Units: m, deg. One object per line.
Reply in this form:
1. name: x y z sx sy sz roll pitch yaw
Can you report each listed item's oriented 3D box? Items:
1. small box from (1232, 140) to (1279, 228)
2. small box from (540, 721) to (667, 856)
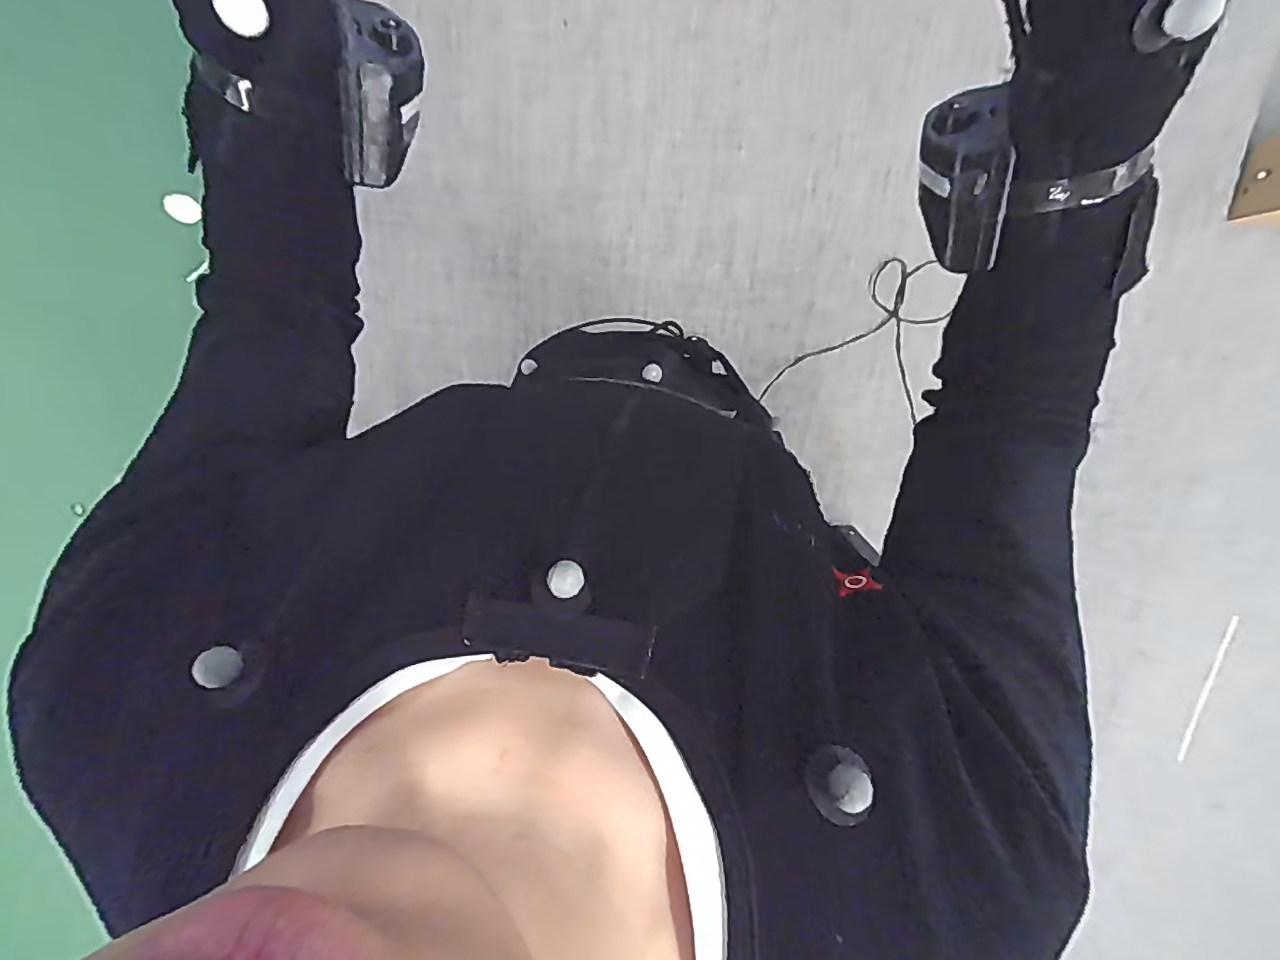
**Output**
1. small box: 1.438 -0.636 1.134 0.179 0.176 0.168 6 105 3
2. small box: -0.056 0.489 0.783 0.168 0.176 0.179 11 105 0
